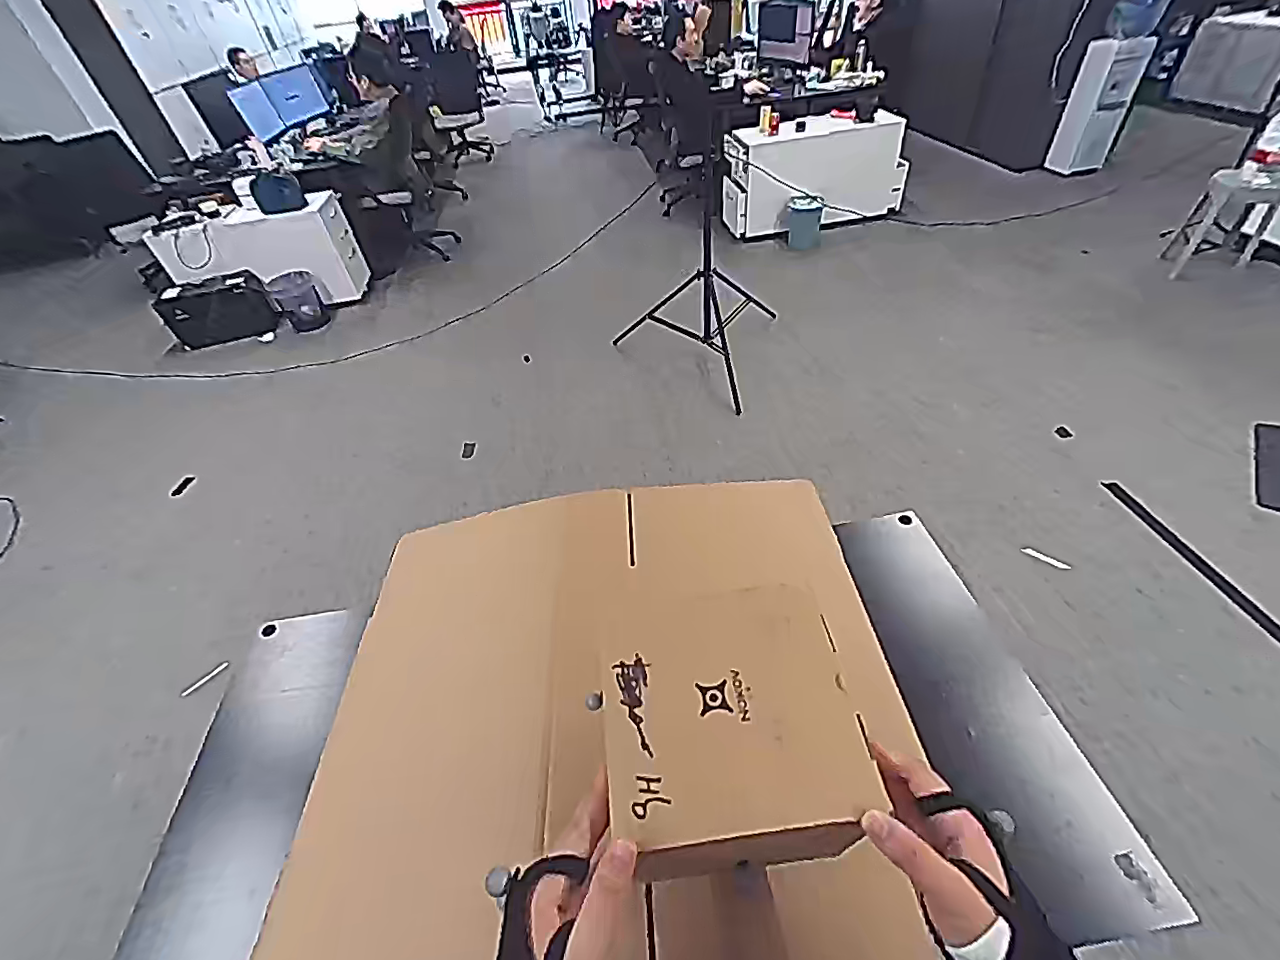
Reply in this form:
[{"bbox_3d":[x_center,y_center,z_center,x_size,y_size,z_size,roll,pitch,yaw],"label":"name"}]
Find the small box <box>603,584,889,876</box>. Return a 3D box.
[{"bbox_3d":[0.066,0.207,0.445,0.179,0.176,0.168,-6,47,-2],"label":"small box"}]
